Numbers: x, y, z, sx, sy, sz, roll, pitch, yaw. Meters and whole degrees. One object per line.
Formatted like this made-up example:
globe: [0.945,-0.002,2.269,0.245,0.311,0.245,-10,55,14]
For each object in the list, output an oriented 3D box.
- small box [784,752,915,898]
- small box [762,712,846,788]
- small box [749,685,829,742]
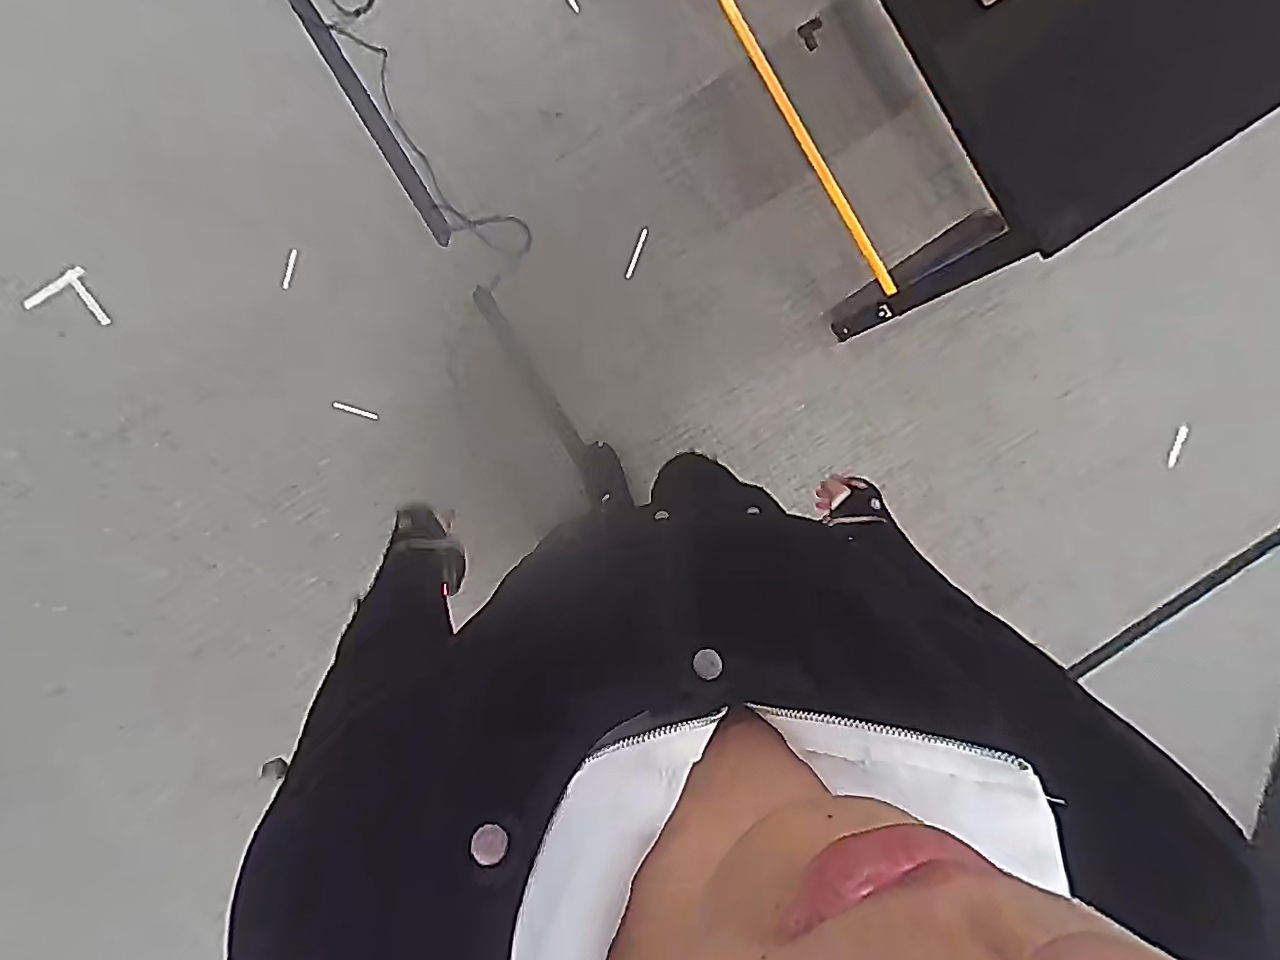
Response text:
small box: [0.436,0.719,1.156,0.168,0.176,0.179,-32,95,-2]
small box: [0.426,0.710,1.320,0.168,0.176,0.179,-32,95,-2]
small box: [0.427,0.703,1.485,0.168,0.176,0.179,-33,94,-2]
